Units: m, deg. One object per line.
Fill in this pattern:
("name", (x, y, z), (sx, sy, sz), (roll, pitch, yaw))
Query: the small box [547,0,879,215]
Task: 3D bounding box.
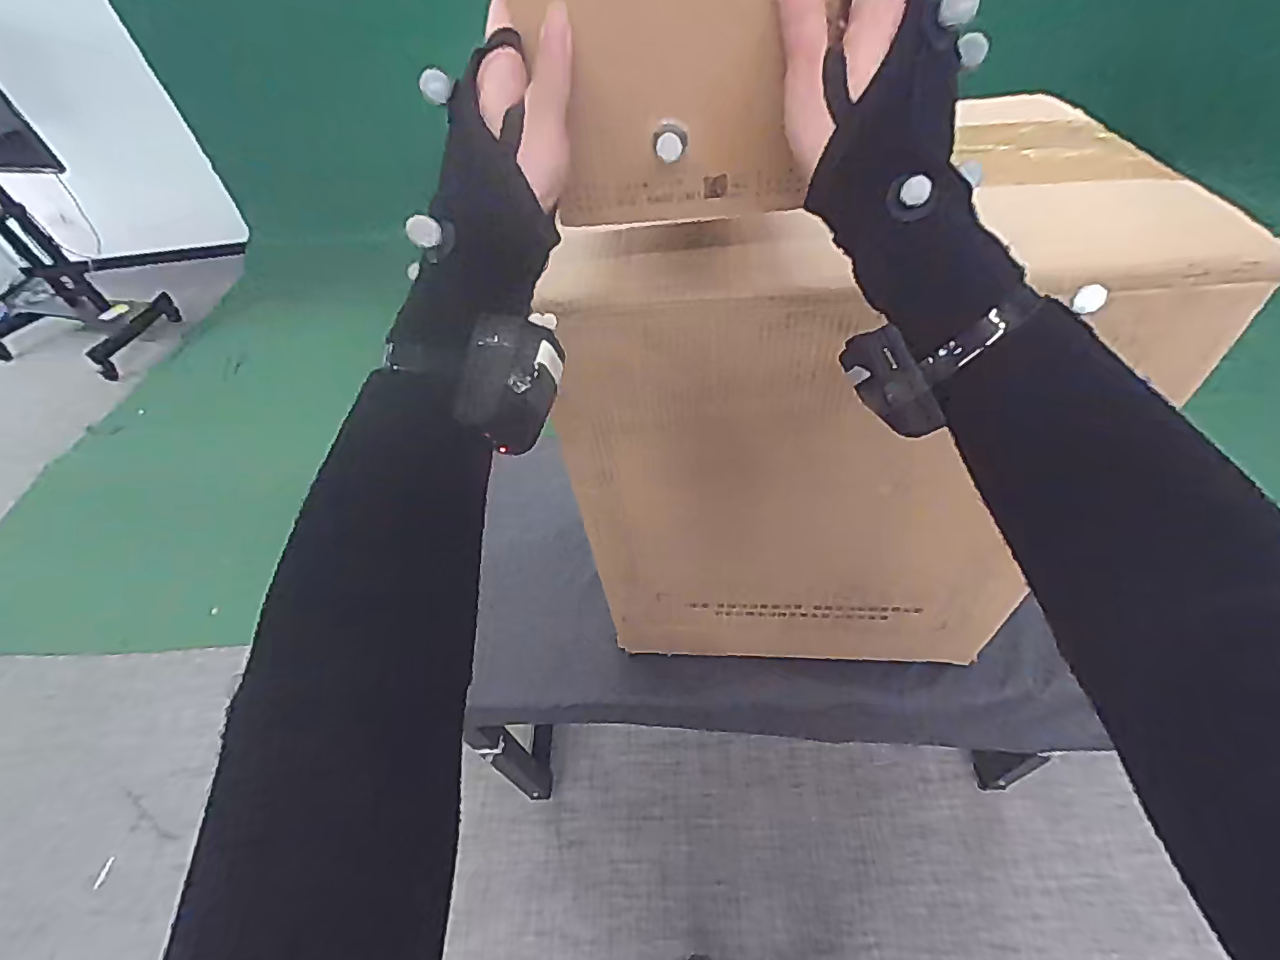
("small box", (0.040, -0.286, 0.325), (0.168, 0.176, 0.179), (1, 57, 7))
